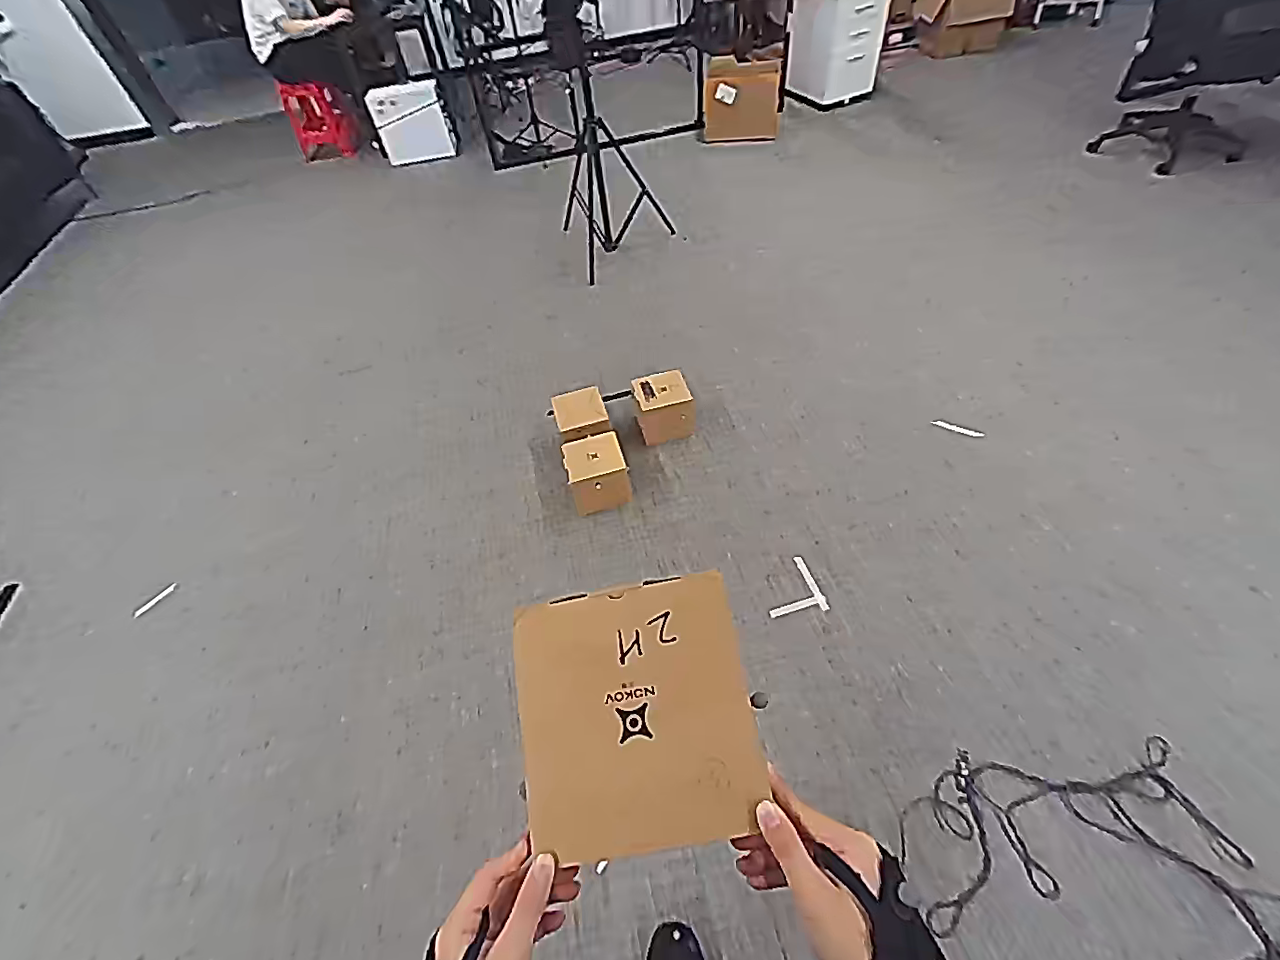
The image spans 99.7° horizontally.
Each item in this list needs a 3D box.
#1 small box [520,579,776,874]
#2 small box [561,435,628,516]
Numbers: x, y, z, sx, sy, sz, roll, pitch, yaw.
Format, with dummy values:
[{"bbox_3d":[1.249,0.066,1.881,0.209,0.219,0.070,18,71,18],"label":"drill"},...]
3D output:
[{"bbox_3d":[0.008,0.196,0.459,0.168,0.176,0.179,-11,68,2],"label":"small box"},{"bbox_3d":[-0.140,-0.012,1.718,0.179,0.176,0.168,-15,51,-5],"label":"small box"}]
